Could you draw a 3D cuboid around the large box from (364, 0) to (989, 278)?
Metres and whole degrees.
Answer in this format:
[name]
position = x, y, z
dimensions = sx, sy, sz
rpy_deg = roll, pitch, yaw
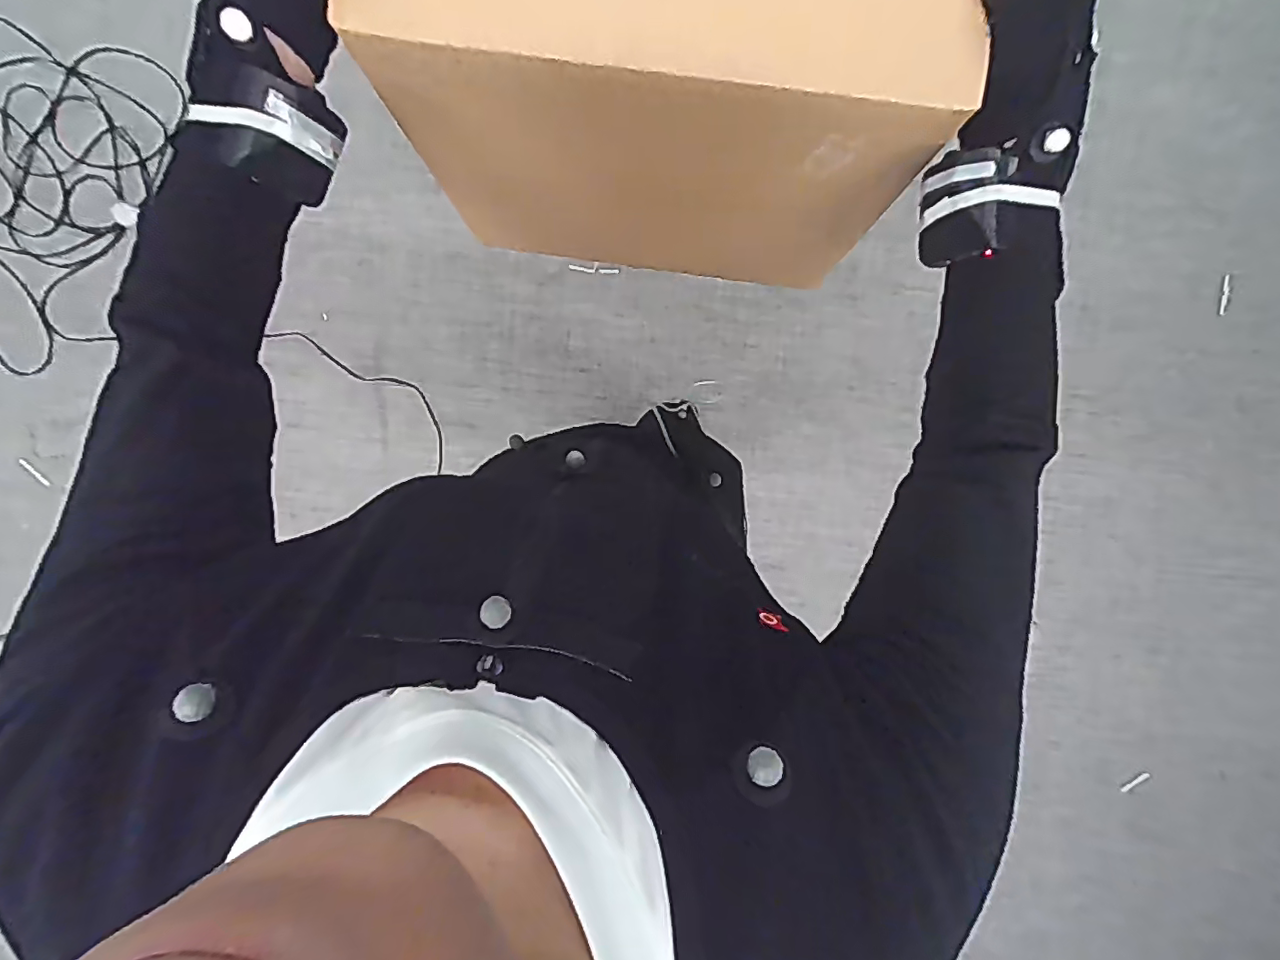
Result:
[large box]
position = 0.032, -0.411, 0.493
dimensions = 0.408, 0.320, 0.320
rpy_deg = 7, 90, -2
